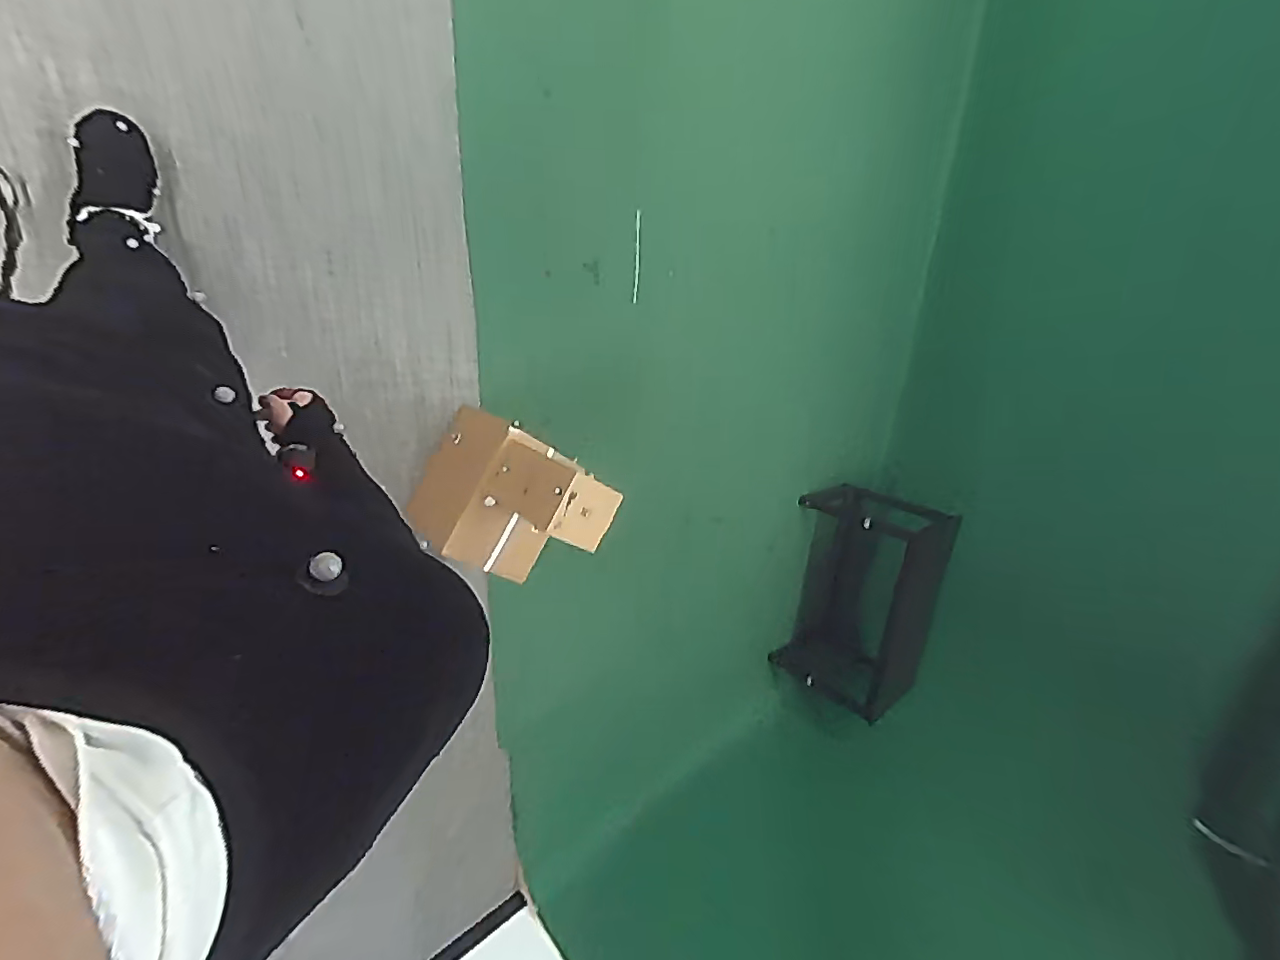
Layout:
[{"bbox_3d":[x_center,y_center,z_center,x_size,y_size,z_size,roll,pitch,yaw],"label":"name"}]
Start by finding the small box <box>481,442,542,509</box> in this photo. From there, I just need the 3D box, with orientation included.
[{"bbox_3d":[-0.302,0.011,1.499,0.179,0.176,0.168,32,84,-45],"label":"small box"}]

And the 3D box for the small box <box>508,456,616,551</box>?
[{"bbox_3d":[-0.200,0.056,1.379,0.179,0.176,0.168,32,85,-46],"label":"small box"}]

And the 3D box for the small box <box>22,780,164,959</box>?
[{"bbox_3d":[-0.979,0.695,0.981,0.168,0.176,0.179,-6,110,-43],"label":"small box"}]
